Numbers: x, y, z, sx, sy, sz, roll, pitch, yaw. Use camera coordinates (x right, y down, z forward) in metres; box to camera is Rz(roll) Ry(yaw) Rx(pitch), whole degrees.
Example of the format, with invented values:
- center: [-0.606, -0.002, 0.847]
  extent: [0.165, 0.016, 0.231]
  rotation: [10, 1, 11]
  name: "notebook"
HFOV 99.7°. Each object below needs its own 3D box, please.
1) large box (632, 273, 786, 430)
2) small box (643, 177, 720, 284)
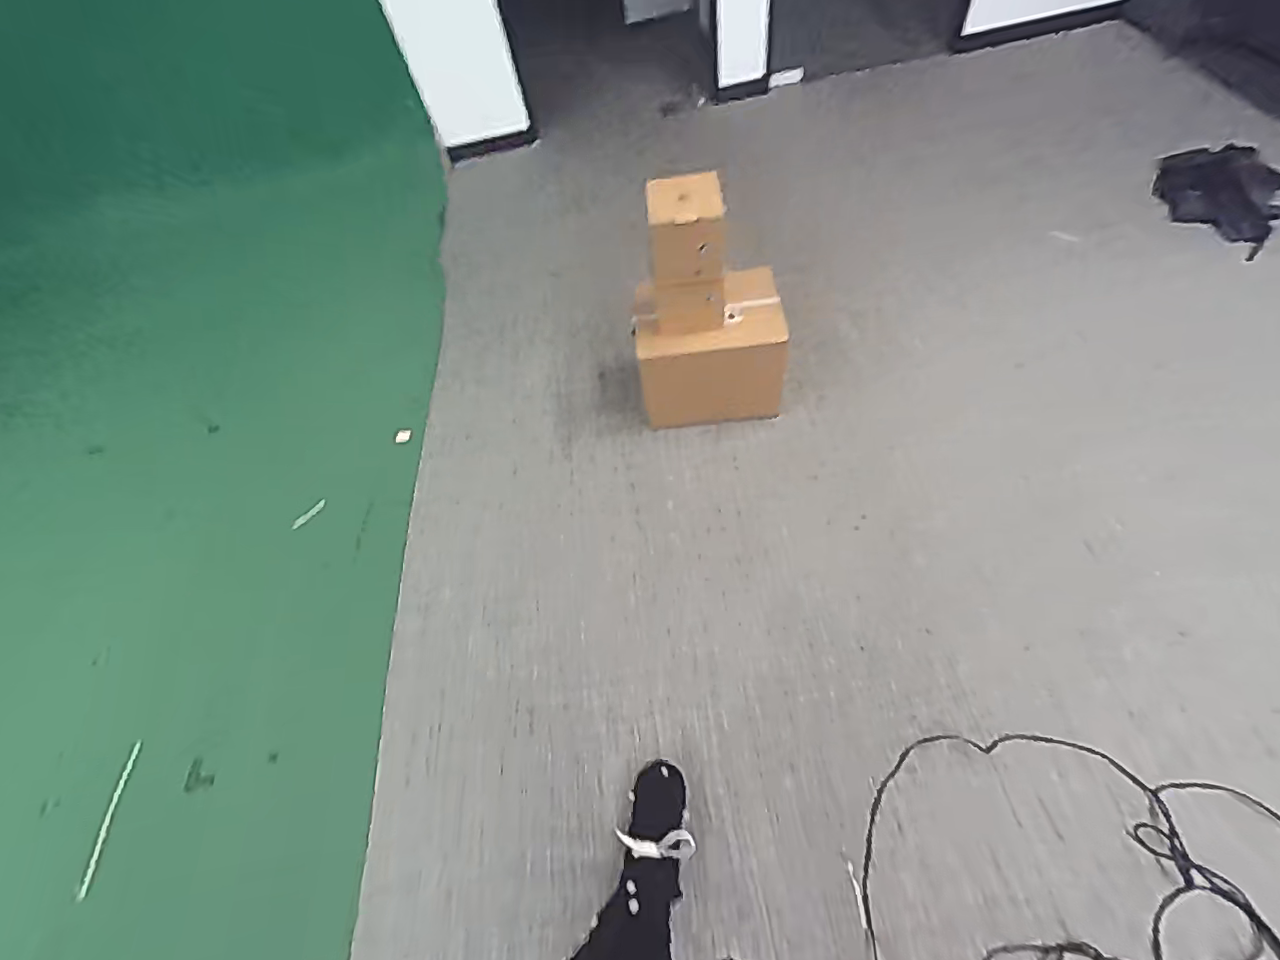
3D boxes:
- center: [0.195, -0.377, 1.626]
  extent: [0.408, 0.320, 0.320]
  rotation: [-5, 57, 4]
  name: "large box"
- center: [0.100, -0.584, 1.285]
  extent: [0.168, 0.176, 0.179]
  rotation: [-5, 55, 3]
  name: "small box"
